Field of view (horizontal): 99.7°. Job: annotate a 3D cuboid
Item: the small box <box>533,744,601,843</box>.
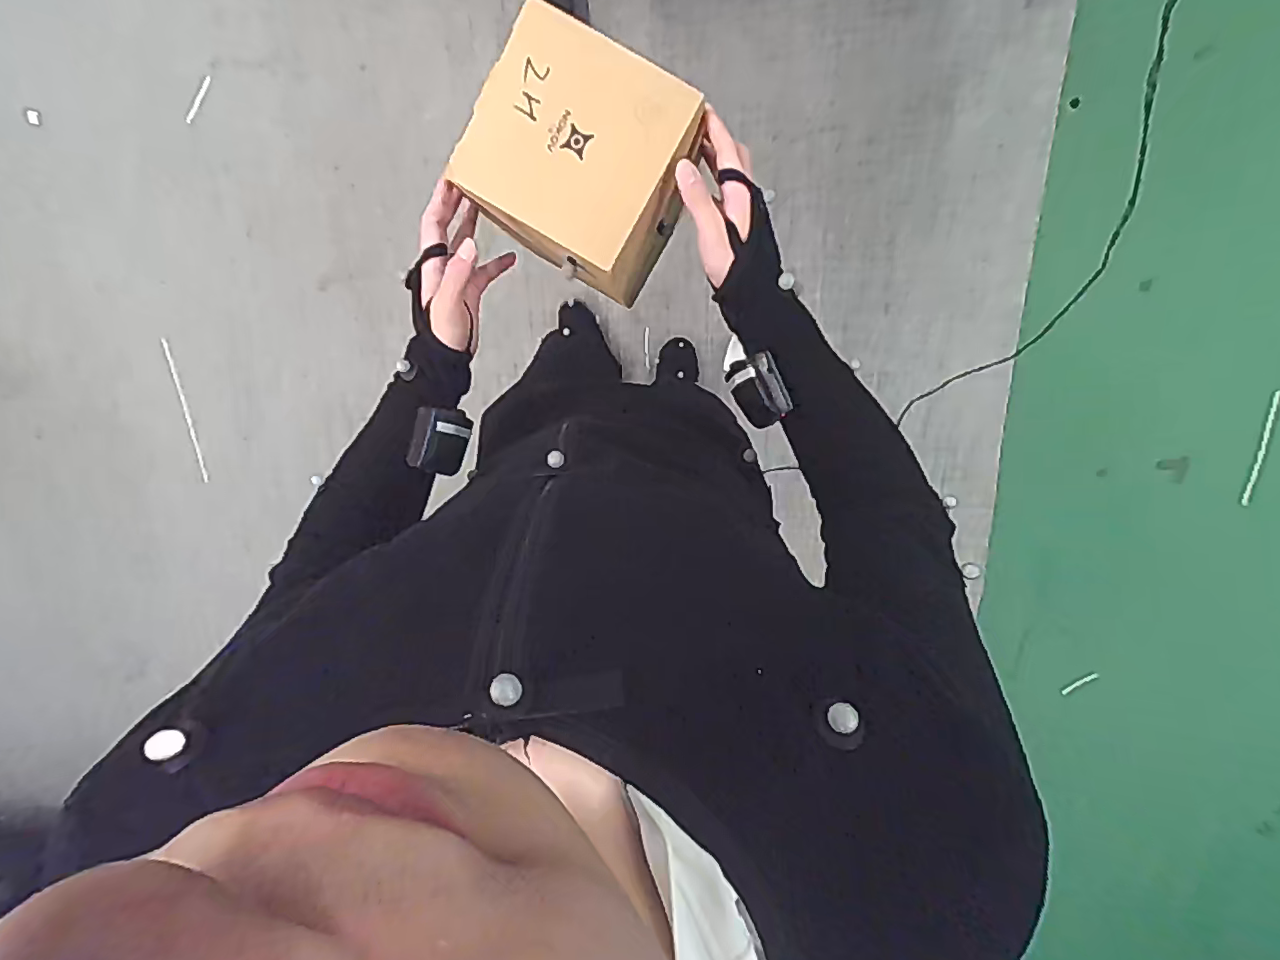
[{"bbox_3d":[-0.209,0.893,1.553,0.168,0.176,0.179,6,107,5],"label":"small box"}]
